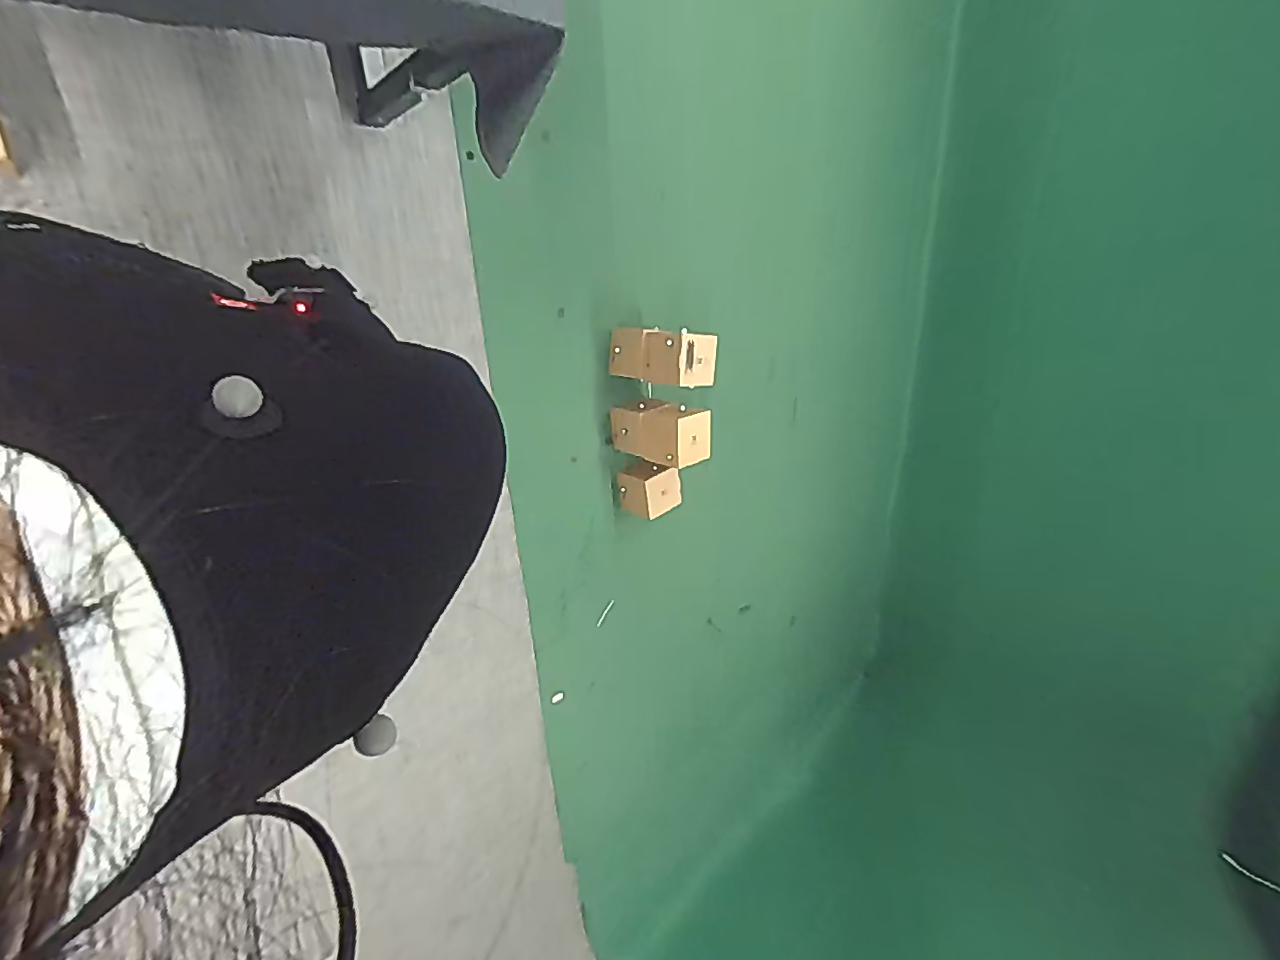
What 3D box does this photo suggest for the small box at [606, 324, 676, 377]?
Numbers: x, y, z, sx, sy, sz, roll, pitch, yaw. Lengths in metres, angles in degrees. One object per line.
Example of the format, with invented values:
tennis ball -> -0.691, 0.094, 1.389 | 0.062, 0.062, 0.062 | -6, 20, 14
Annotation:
small box -> 0.003, -0.458, 1.911 | 0.179, 0.176, 0.168 | -8, 108, -42

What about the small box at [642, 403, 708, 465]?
small box -> 0.119, -0.169, 1.888 | 0.168, 0.176, 0.179 | -21, 118, -39

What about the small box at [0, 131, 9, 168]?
small box -> -1.080, -0.573, 0.790 | 0.168, 0.176, 0.179 | -17, 115, -40

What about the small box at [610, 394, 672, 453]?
small box -> 0.003, -0.213, 1.994 | 0.179, 0.176, 0.168 | -24, 120, -38

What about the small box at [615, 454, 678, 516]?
small box -> 0.026, 0.013, 2.093 | 0.179, 0.176, 0.168 | -27, 121, -36
